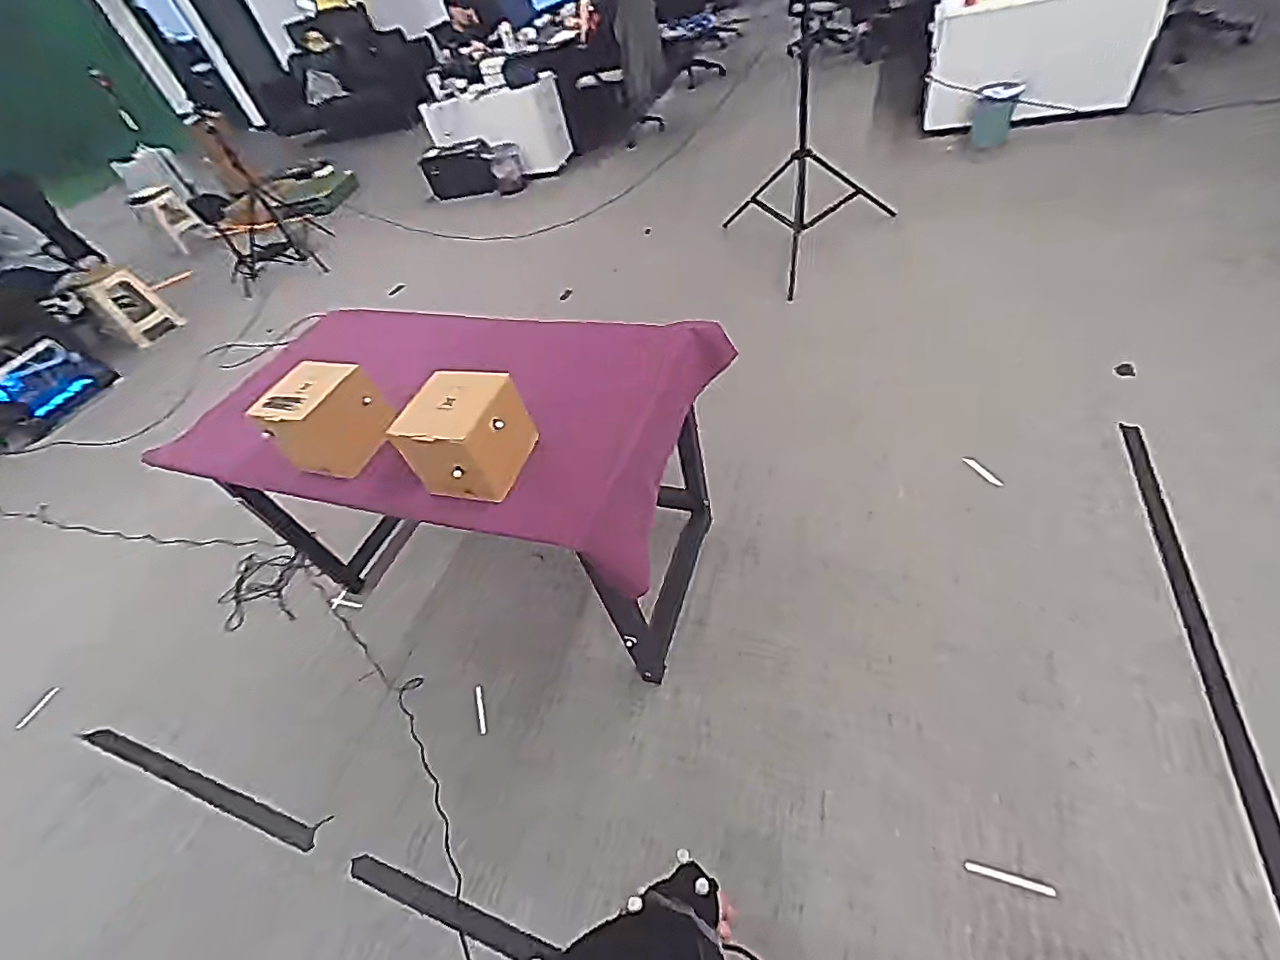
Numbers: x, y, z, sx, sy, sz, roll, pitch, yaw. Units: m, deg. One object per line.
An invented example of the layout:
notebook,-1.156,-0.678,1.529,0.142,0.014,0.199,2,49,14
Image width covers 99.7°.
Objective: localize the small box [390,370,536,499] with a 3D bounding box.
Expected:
small box,-0.316,-0.084,1.011,0.168,0.176,0.179,6,51,19
